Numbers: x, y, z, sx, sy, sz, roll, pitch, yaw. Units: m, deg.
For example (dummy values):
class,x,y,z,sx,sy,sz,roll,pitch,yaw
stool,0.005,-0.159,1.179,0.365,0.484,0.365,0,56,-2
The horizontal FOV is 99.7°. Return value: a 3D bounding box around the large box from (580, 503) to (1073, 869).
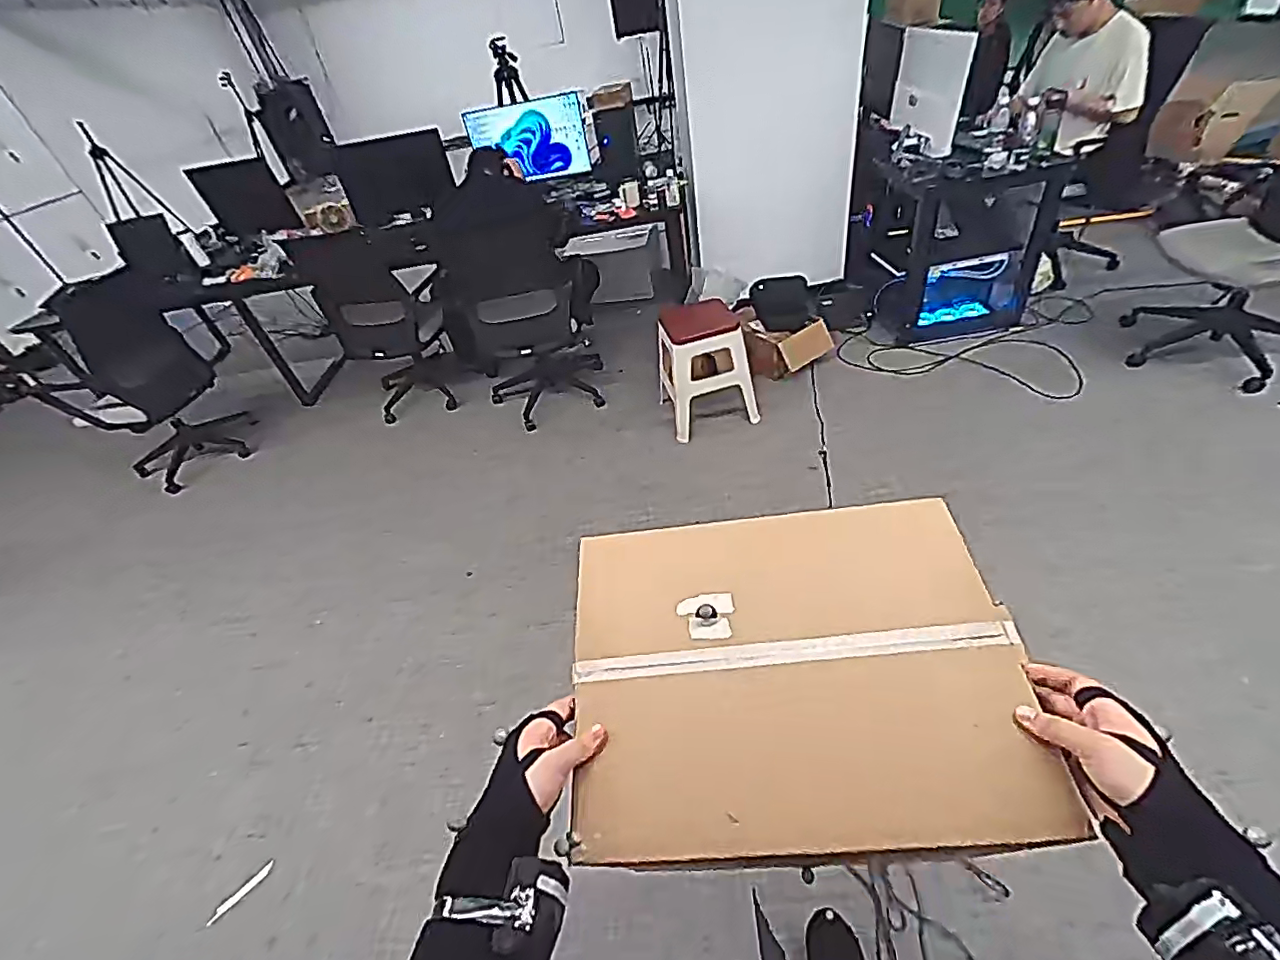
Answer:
class,x,y,z,sx,sy,sz,roll,pitch,yaw
large box,0.165,0.262,0.646,0.408,0.320,0.320,-8,51,7
